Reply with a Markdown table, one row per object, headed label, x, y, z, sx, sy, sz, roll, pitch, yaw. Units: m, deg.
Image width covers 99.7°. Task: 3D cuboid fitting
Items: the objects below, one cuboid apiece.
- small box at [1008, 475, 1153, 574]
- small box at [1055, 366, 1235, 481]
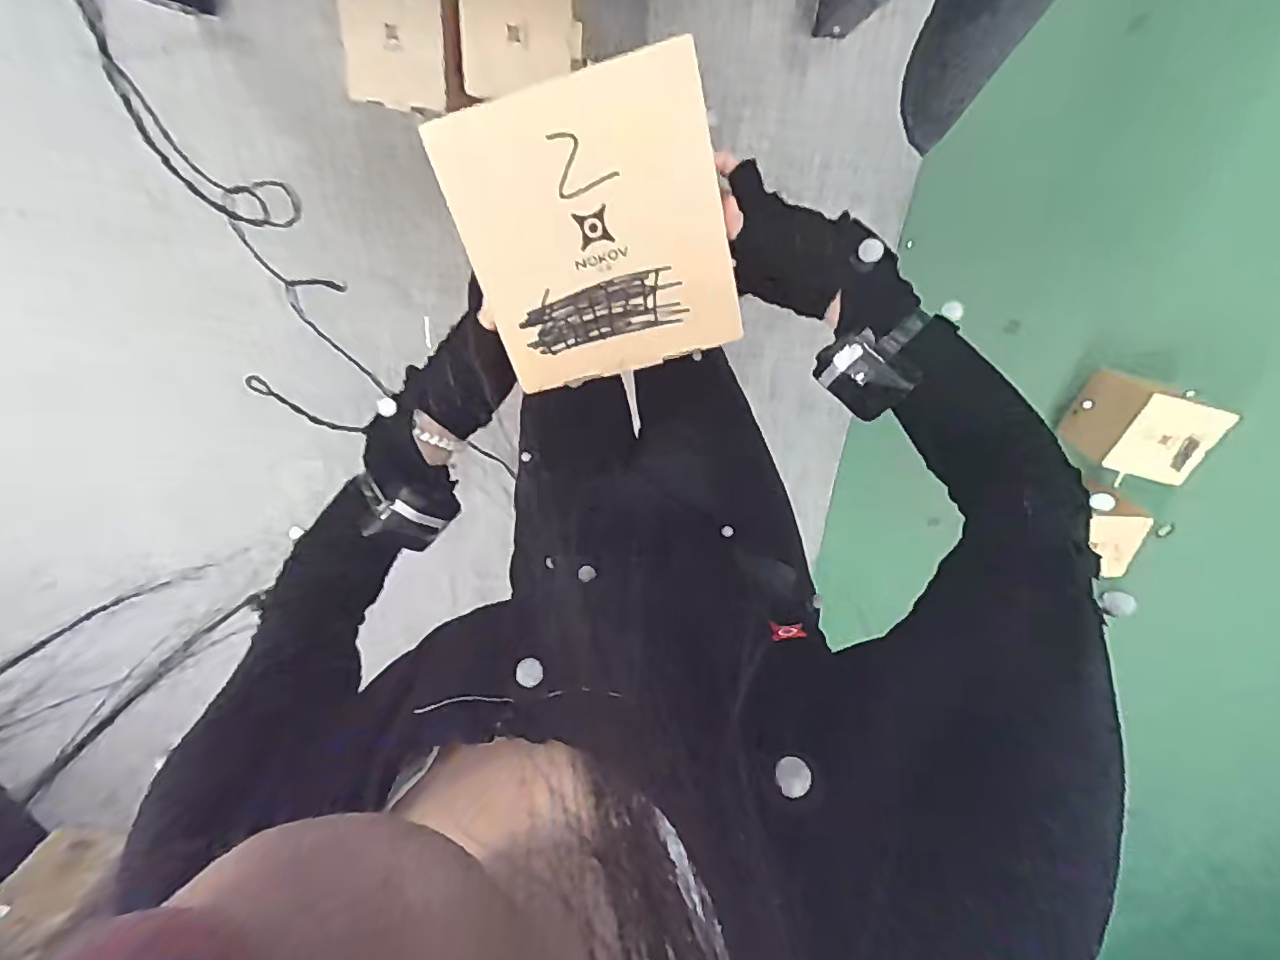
| label | x | y | z | sx | sy | sz | roll | pitch | yaw |
| --- | --- | --- | --- | --- | --- | --- | --- | --- | --- |
| small box | 1.012 | 0.098 | 1.264 | 0.179 | 0.176 | 0.168 | 3 | 121 | 3 |
| small box | 1.042 | -0.124 | 1.135 | 0.179 | 0.176 | 0.168 | 14 | 119 | -2 |
